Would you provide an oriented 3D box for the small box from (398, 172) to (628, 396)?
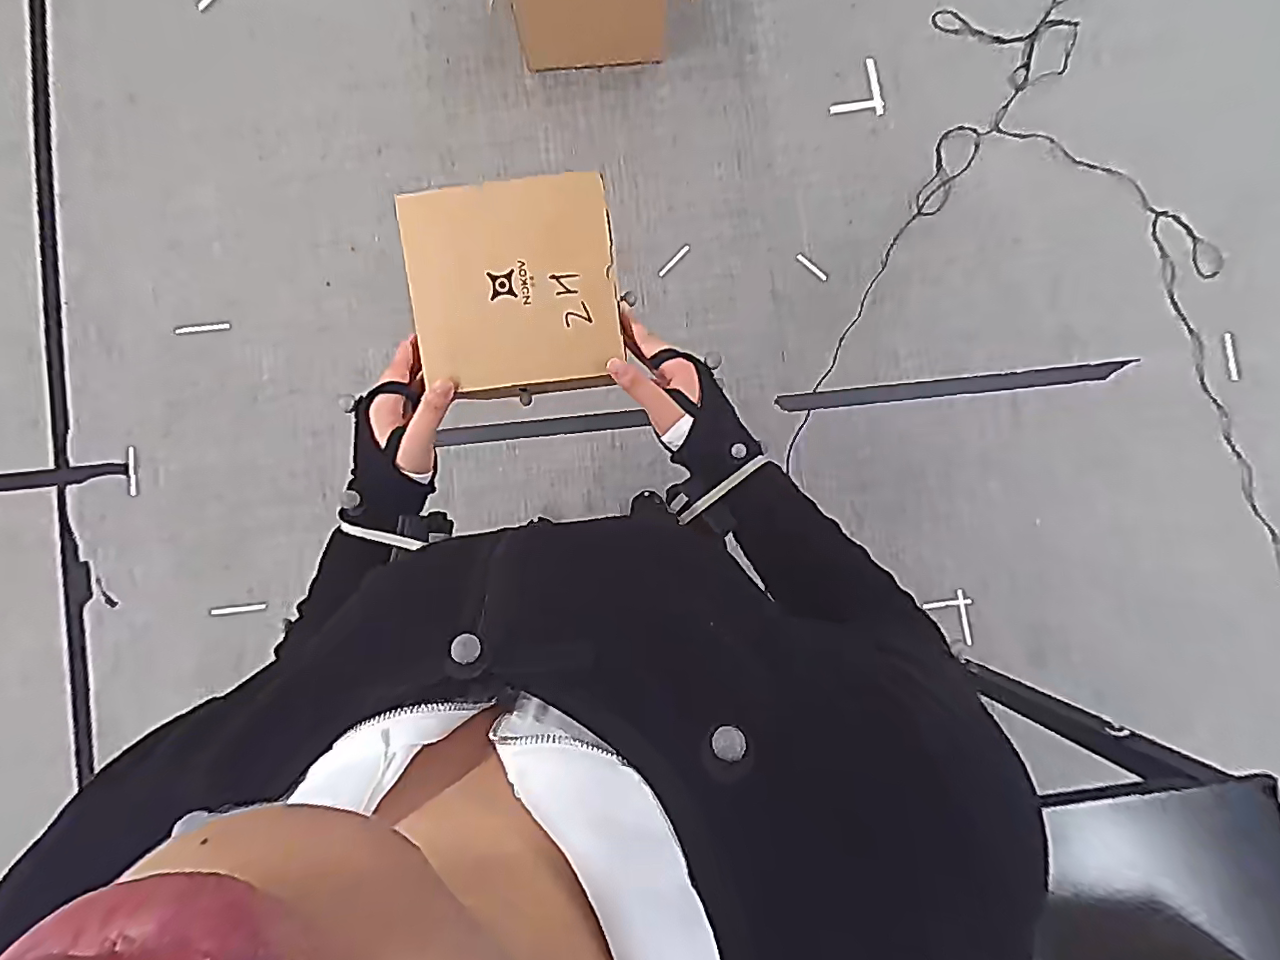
[{"bbox_3d":[-0.108,-0.175,0.535,0.179,0.176,0.168,-7,98,0],"label":"small box"}]
